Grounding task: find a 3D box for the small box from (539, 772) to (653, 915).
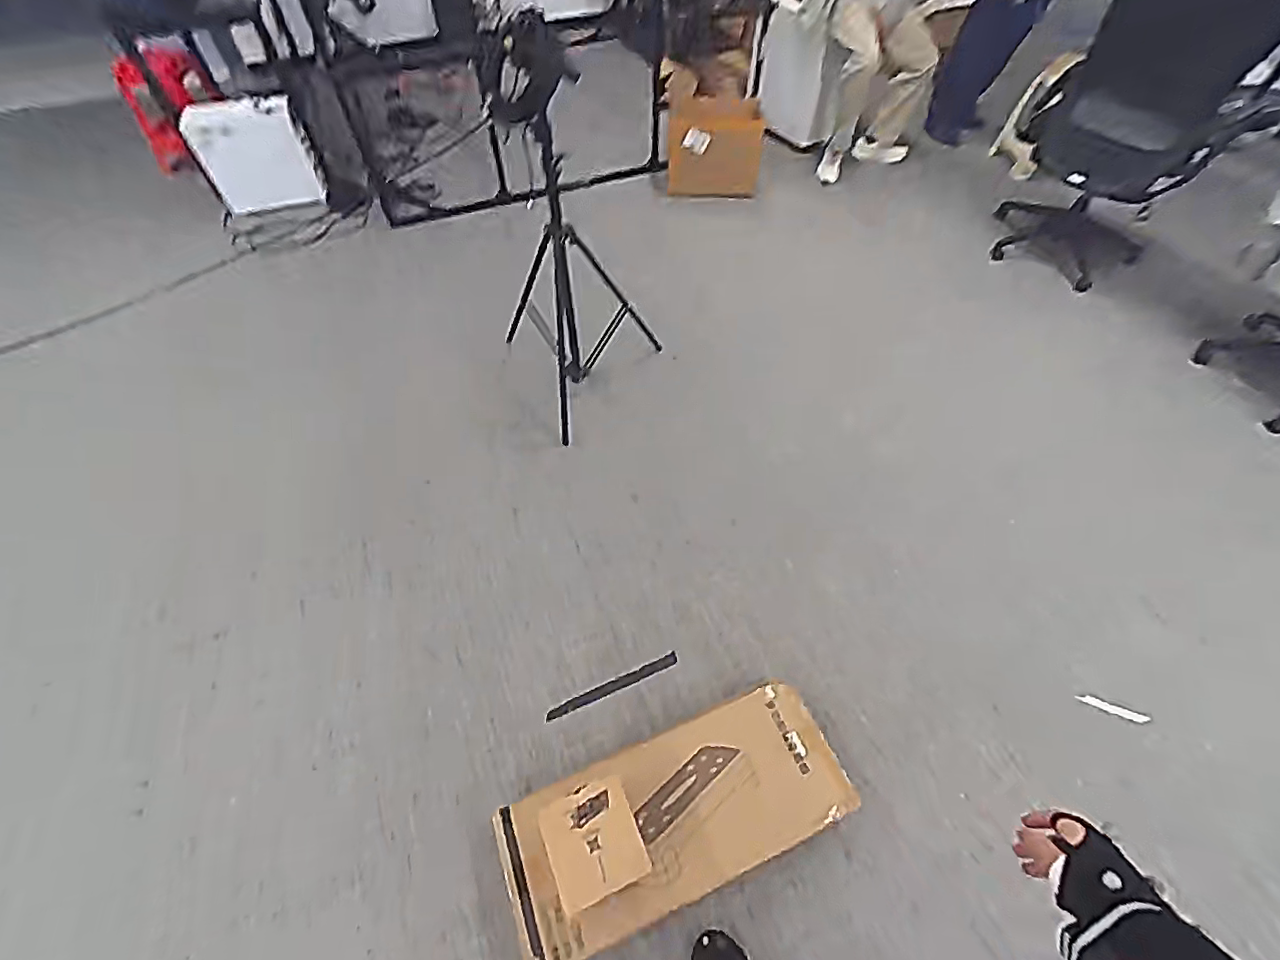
[{"bbox_3d":[-0.086,0.704,1.052,0.168,0.176,0.179,-20,57,-14],"label":"small box"}]
